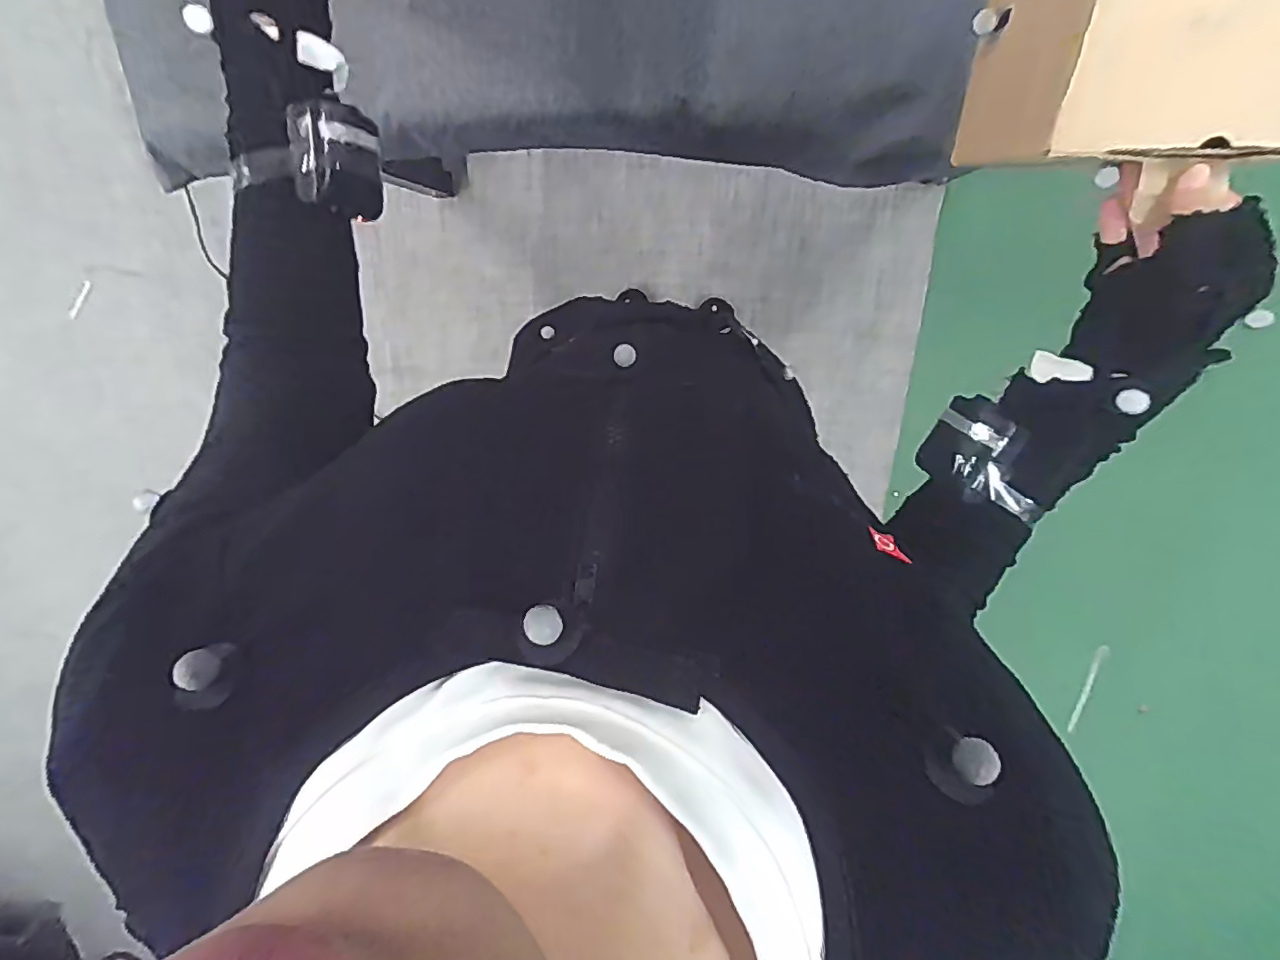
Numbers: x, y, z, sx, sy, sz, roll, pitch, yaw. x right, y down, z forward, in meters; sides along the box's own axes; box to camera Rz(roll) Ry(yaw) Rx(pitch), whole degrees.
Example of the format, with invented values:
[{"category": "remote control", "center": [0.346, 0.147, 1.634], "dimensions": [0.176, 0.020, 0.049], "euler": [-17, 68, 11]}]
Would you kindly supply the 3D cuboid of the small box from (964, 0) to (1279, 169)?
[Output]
[{"category": "small box", "center": [0.322, -0.288, 0.321], "dimensions": [0.168, 0.176, 0.179], "euler": [5, 120, 8]}]
